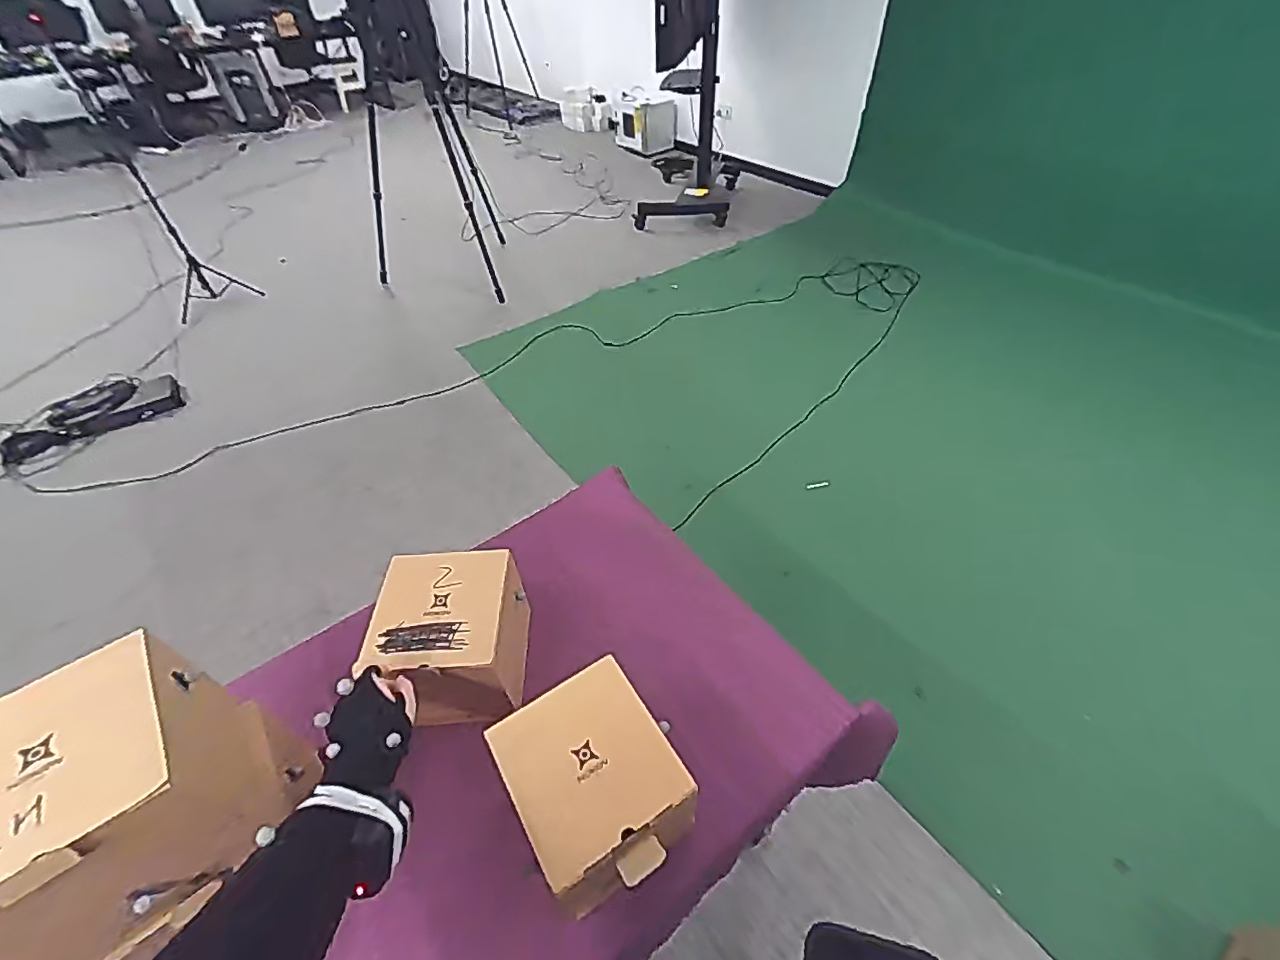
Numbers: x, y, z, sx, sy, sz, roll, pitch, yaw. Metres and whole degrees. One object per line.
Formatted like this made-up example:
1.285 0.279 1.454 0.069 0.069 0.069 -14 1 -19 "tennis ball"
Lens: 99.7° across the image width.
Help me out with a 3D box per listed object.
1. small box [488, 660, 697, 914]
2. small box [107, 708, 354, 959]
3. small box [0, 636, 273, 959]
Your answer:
-0.053 0.353 0.626 0.168 0.176 0.179 -27 50 -21 "small box"
-0.452 0.401 0.601 0.168 0.176 0.179 -30 52 -25 "small box"
-0.471 0.285 0.485 0.168 0.176 0.179 -31 51 -25 "small box"
